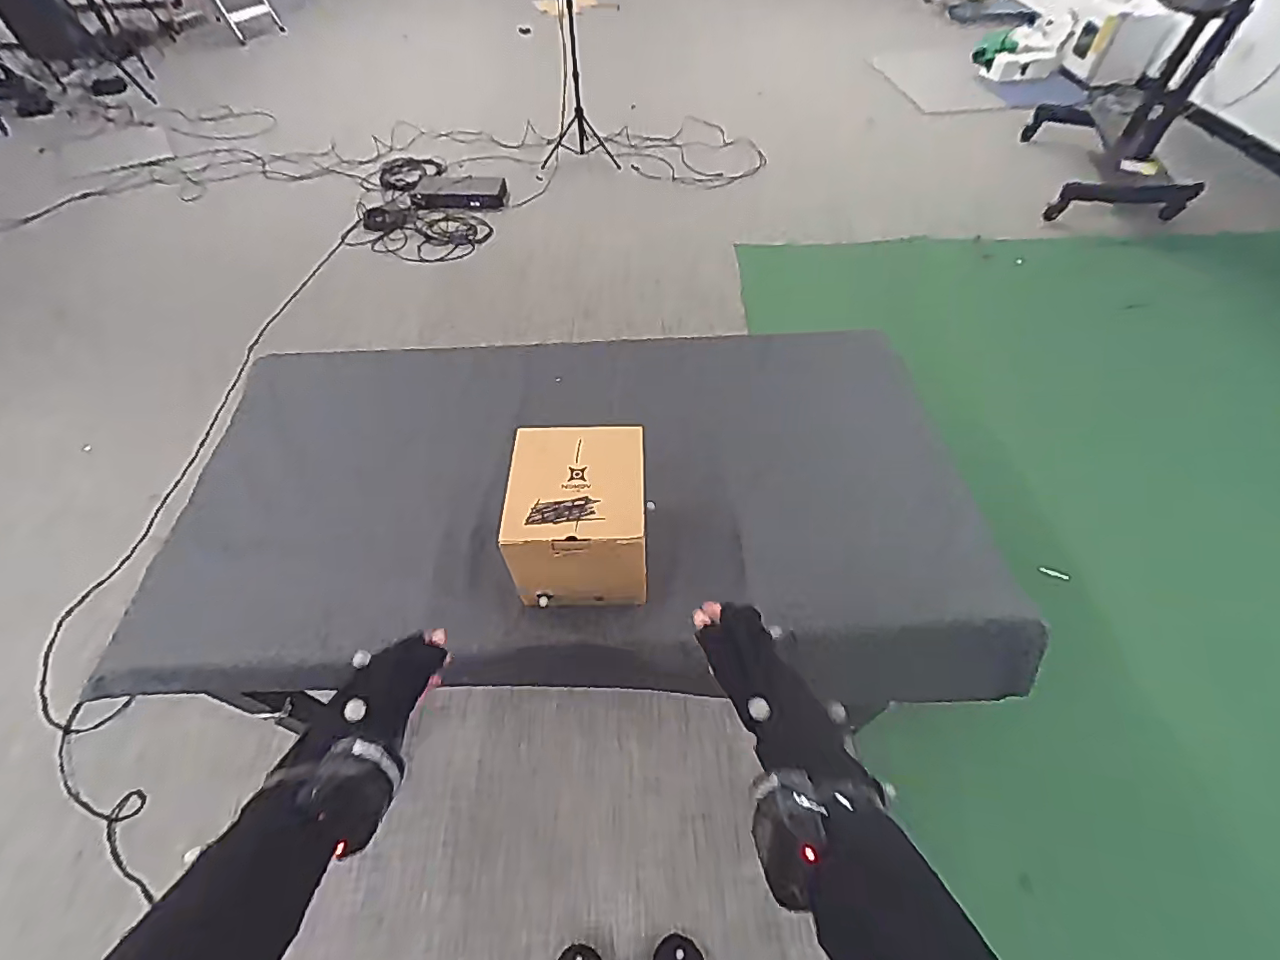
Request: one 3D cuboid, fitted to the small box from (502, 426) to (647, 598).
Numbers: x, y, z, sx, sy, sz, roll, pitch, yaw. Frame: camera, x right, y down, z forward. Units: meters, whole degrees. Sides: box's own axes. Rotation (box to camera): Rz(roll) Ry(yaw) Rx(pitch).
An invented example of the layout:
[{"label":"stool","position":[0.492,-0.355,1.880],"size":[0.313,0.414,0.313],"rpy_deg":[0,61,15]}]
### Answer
[{"label":"small box","position":[-0.074,0.047,0.727],"size":[0.168,0.176,0.179],"rpy_deg":[1,52,0]}]
